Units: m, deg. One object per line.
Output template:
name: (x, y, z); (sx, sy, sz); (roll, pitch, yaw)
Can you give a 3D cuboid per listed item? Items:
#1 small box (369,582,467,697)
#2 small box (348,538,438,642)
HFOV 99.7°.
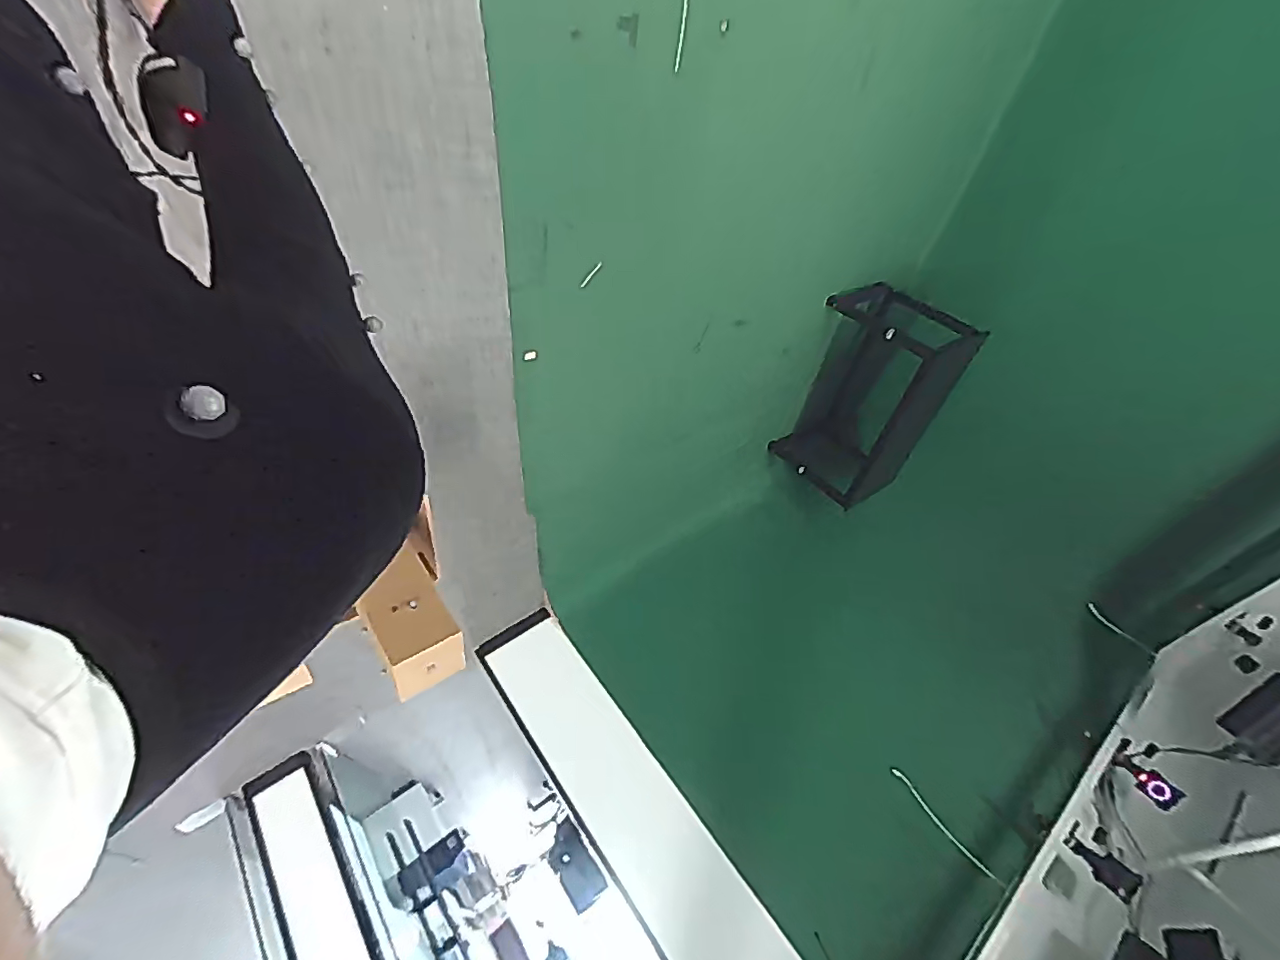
small box: (-0.535, 0.383, 1.314); (0.168, 0.176, 0.179); (-23, 143, -33)
small box: (-0.633, 0.283, 1.398); (0.168, 0.176, 0.179); (-22, 143, -34)
